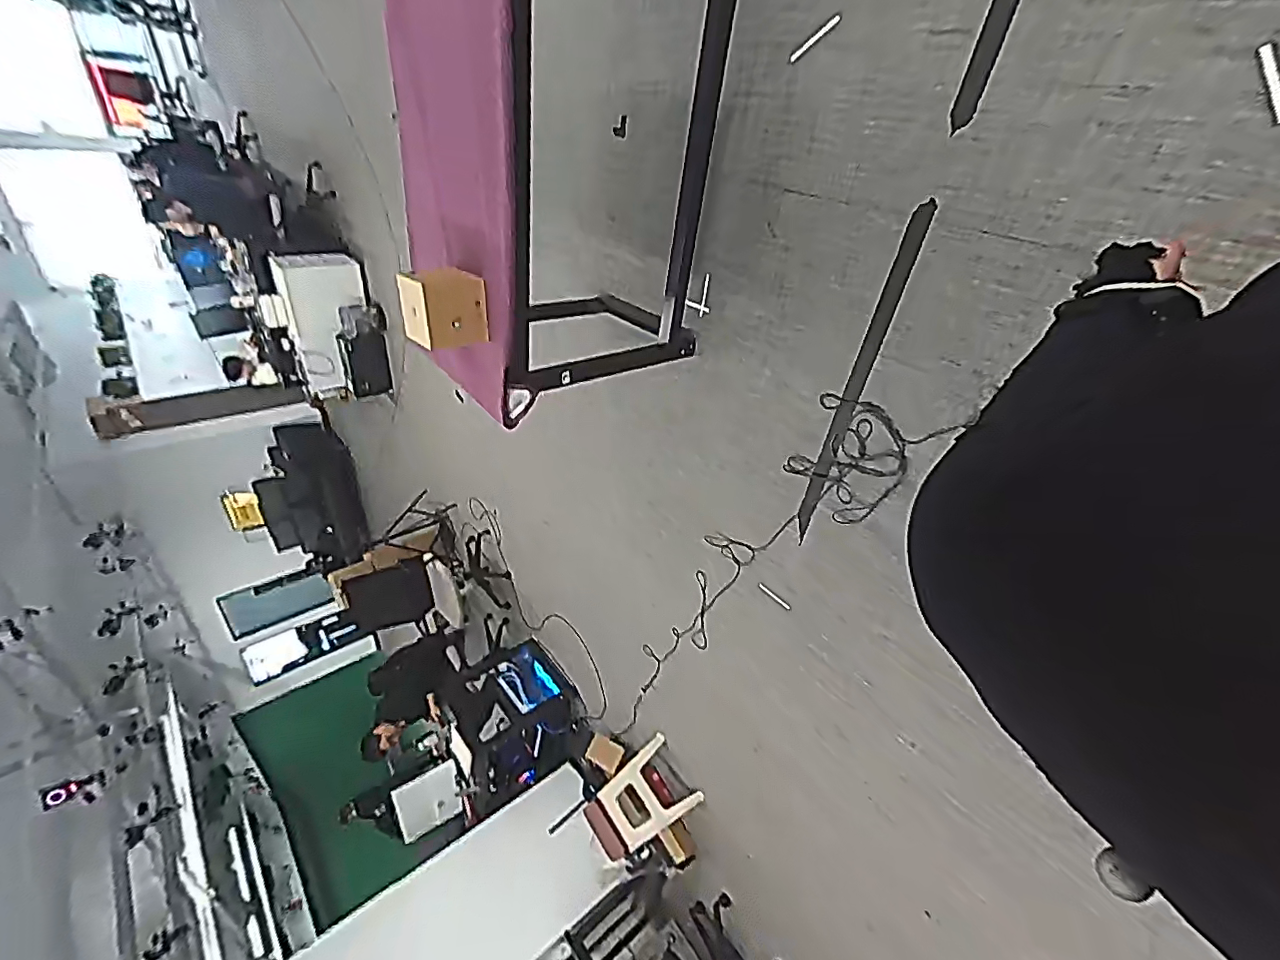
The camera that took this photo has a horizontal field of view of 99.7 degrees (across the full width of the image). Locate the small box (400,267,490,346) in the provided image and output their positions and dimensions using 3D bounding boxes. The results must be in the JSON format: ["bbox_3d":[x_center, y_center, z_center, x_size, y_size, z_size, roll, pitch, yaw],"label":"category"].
[{"bbox_3d":[-0.513,-0.470,1.443,0.179,0.176,0.168,32,131,41],"label":"small box"}]
